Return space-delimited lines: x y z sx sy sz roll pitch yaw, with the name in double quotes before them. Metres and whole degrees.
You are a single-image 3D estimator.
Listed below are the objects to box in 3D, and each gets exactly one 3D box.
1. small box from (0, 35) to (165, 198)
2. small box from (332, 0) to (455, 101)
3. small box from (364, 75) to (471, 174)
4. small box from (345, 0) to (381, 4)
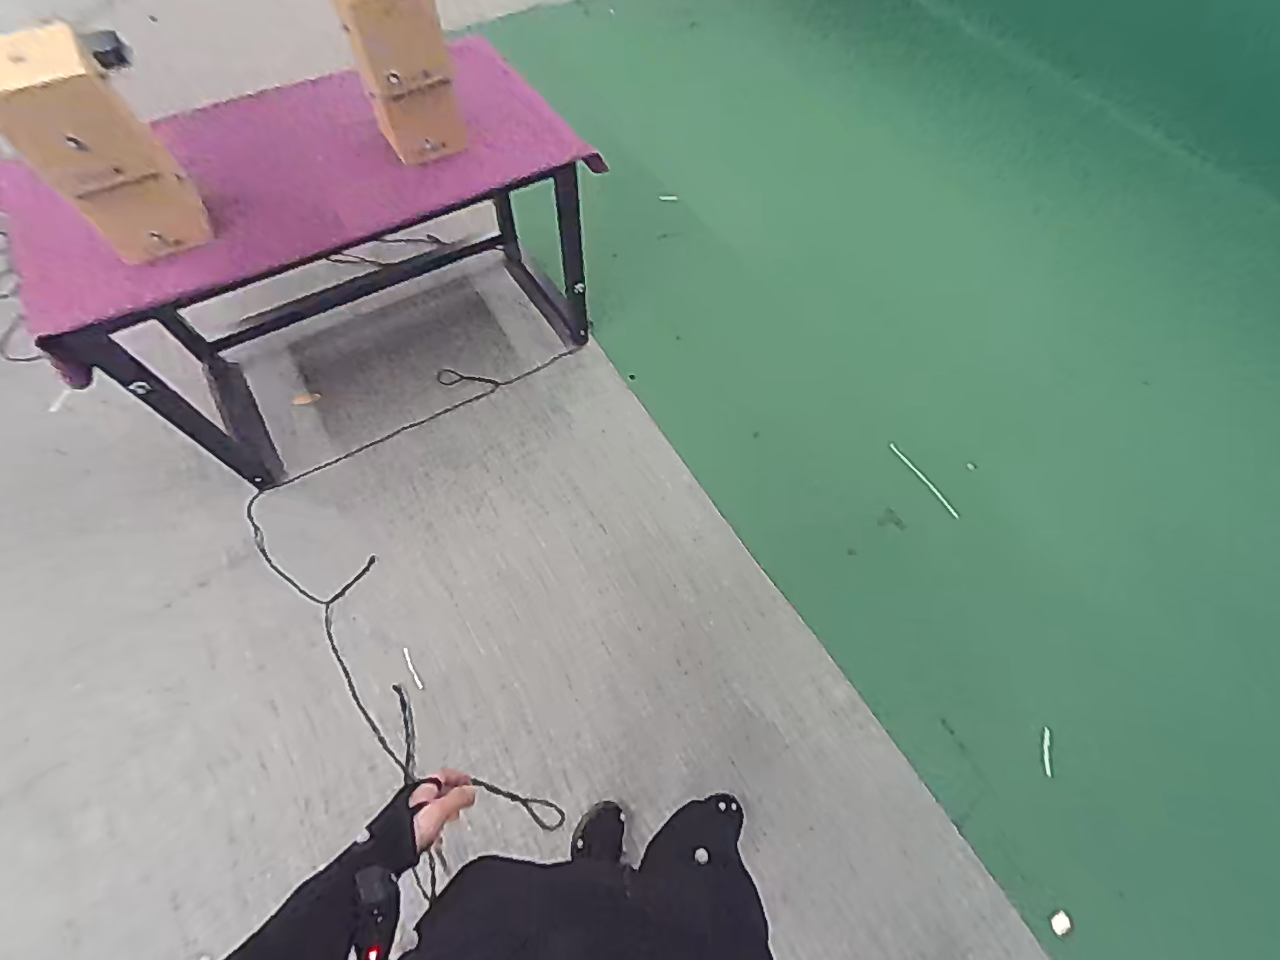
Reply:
"small box" -0.991 -0.626 0.949 0.168 0.176 0.179 -29 68 -17
"small box" -0.513 -0.929 1.130 0.168 0.176 0.179 -29 65 -15
"small box" -0.526 -0.869 1.283 0.168 0.176 0.179 -27 67 -14
"small box" -0.515 -1.013 0.990 0.168 0.176 0.179 -31 66 -15
